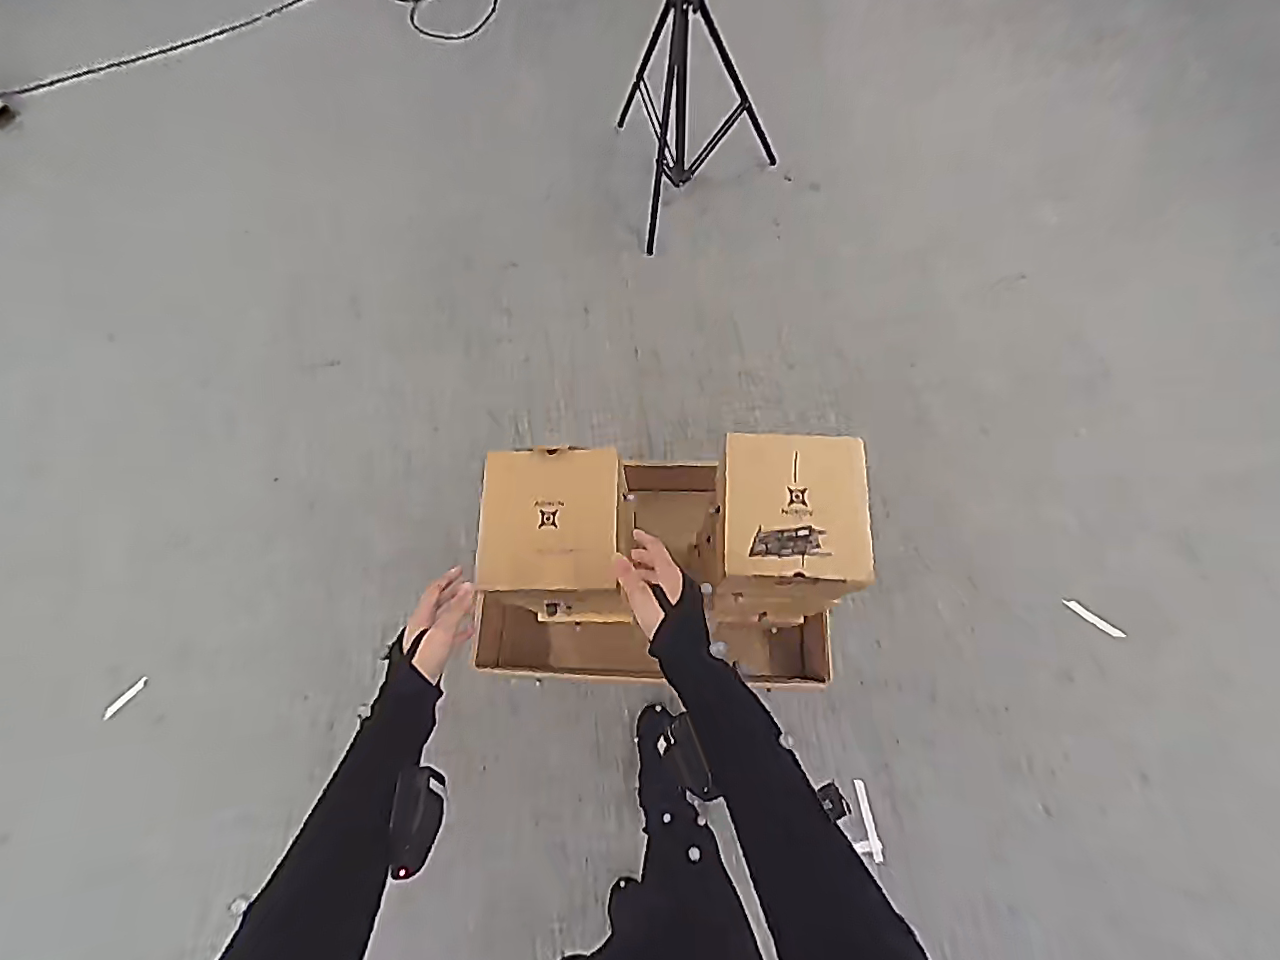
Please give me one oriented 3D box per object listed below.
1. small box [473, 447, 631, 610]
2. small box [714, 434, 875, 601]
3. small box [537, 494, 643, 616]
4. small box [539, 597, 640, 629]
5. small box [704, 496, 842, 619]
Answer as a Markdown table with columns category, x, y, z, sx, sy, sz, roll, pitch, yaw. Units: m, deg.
| category | x | y | z | sx | sy | sz | roll | pitch | yaw |
| --- | --- | --- | --- | --- | --- | --- | --- | --- | --- |
| small box | -0.102 | 0.069 | 0.705 | 0.168 | 0.176 | 0.179 | -1 | 70 | 3 |
| small box | 0.185 | 0.056 | 0.689 | 0.168 | 0.176 | 0.179 | 3 | 70 | 4 |
| small box | -0.089 | 0.123 | 0.860 | 0.179 | 0.176 | 0.168 | 1 | 71 | 2 |
| small box | -0.086 | 0.185 | 1.012 | 0.168 | 0.176 | 0.179 | 0 | 70 | 2 |
| small box | 0.194 | 0.125 | 0.841 | 0.179 | 0.176 | 0.168 | -1 | 71 | 3 |
